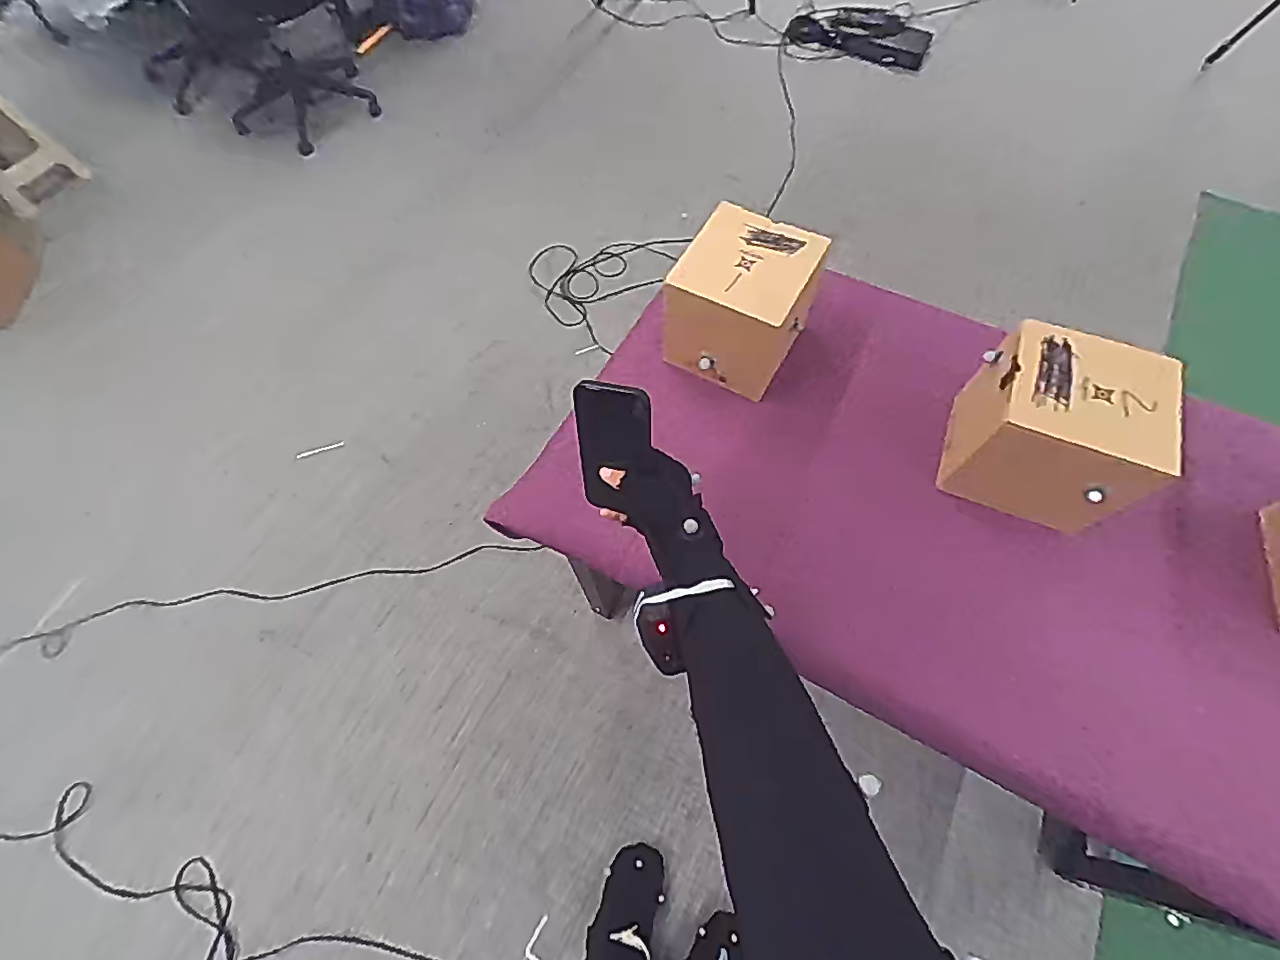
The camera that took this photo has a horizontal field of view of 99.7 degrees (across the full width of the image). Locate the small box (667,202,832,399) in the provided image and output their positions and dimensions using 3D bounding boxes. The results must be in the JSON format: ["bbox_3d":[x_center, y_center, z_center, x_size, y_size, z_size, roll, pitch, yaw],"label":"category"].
[{"bbox_3d":[0.146,-0.253,0.782,0.168,0.176,0.179,27,69,14],"label":"small box"}]

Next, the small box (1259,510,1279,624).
[{"bbox_3d":[0.850,0.107,0.585,0.168,0.176,0.179,16,64,10],"label":"small box"}]
